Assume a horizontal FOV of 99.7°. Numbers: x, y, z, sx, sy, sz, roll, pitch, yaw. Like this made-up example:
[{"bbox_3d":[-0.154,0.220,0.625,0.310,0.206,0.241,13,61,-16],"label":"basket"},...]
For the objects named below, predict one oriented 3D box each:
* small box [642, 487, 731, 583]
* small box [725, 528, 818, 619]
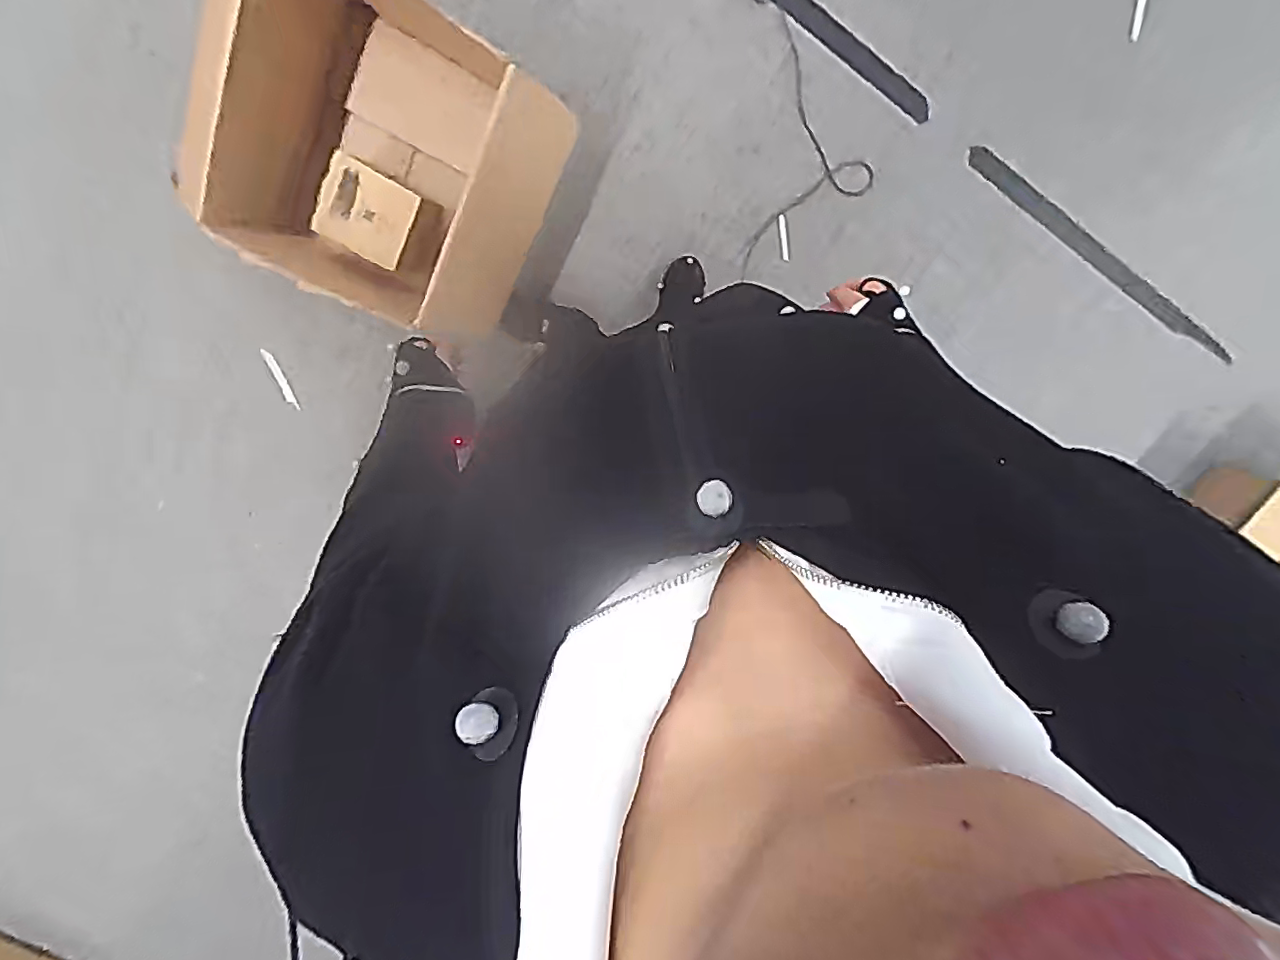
[{"bbox_3d":[0.118,0.145,1.492,0.168,0.176,0.179,30,105,-17],"label":"small box"},{"bbox_3d":[0.373,0.263,1.563,0.179,0.176,0.168,28,105,-13],"label":"small box"}]
